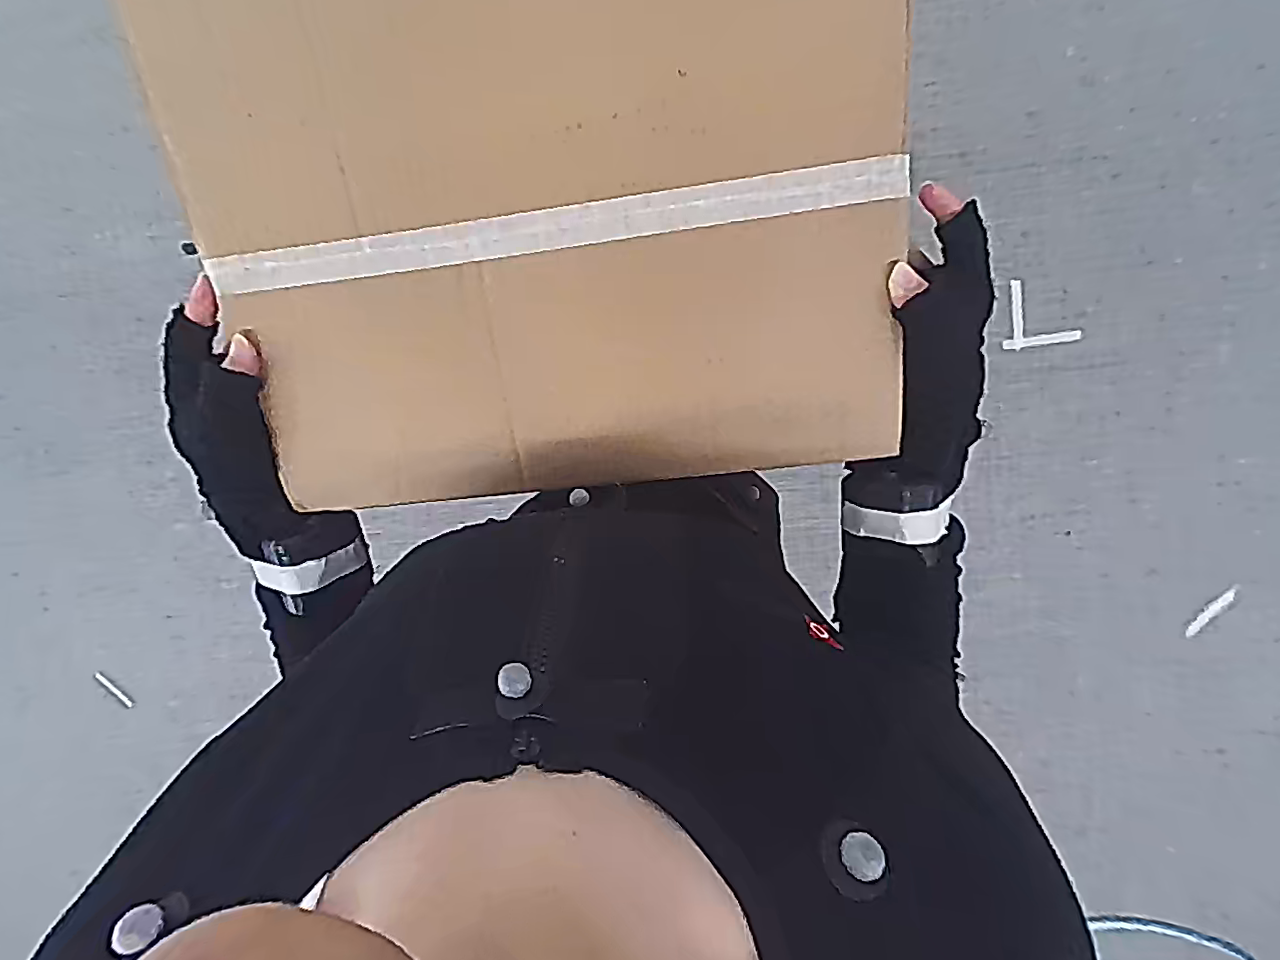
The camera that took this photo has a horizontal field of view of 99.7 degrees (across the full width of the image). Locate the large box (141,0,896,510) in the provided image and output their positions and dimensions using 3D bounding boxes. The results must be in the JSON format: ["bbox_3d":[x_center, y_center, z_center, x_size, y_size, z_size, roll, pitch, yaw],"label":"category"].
[{"bbox_3d":[-0.046,-0.192,0.459,0.408,0.320,0.320,-5,108,5],"label":"large box"}]
